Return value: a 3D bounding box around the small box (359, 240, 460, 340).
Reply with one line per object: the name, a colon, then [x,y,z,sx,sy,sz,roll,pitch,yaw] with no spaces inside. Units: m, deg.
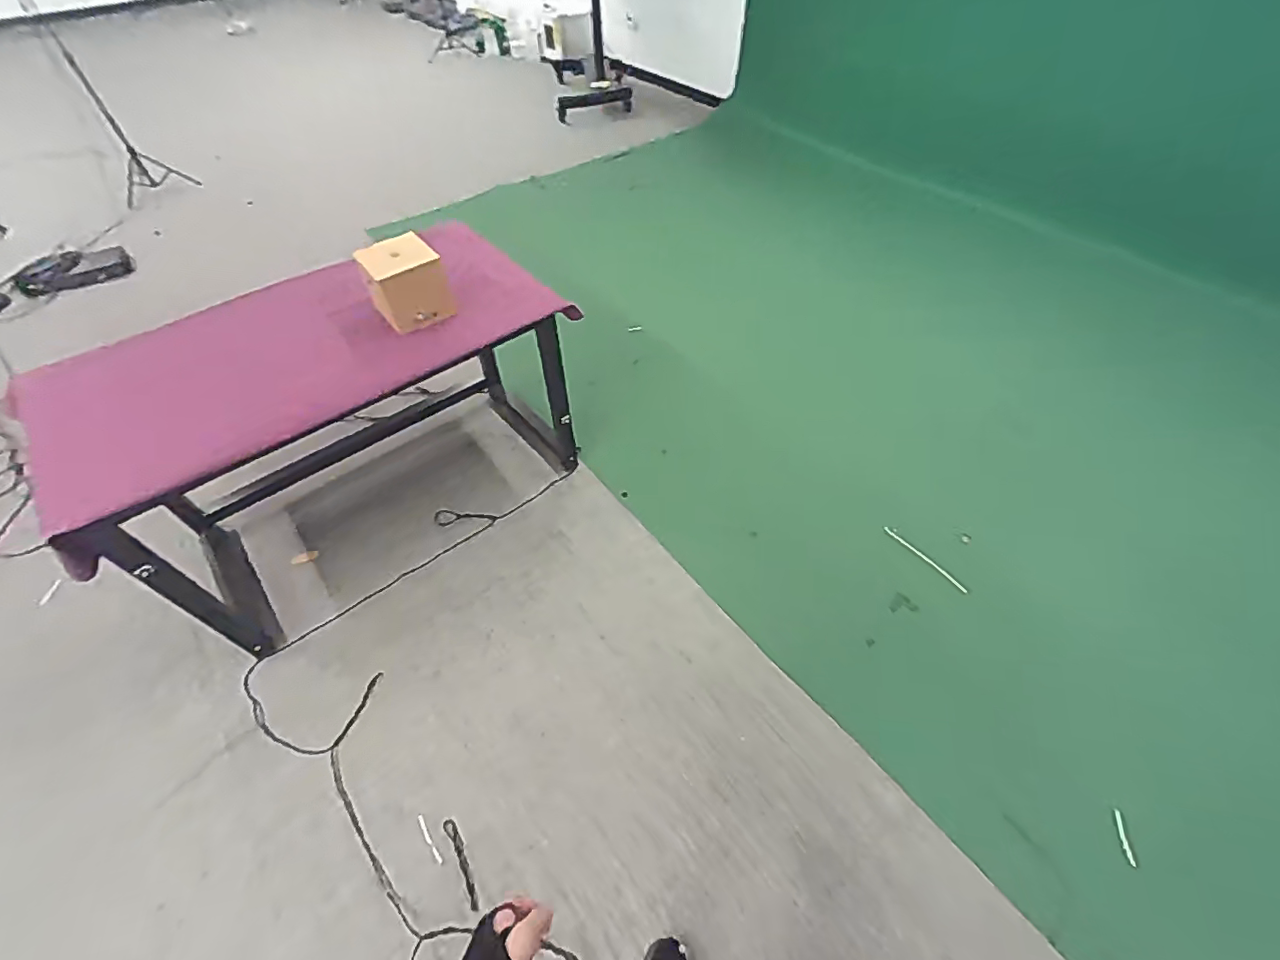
small box: [-0.604,-0.500,1.431,0.168,0.176,0.179,-32,56,-21]
